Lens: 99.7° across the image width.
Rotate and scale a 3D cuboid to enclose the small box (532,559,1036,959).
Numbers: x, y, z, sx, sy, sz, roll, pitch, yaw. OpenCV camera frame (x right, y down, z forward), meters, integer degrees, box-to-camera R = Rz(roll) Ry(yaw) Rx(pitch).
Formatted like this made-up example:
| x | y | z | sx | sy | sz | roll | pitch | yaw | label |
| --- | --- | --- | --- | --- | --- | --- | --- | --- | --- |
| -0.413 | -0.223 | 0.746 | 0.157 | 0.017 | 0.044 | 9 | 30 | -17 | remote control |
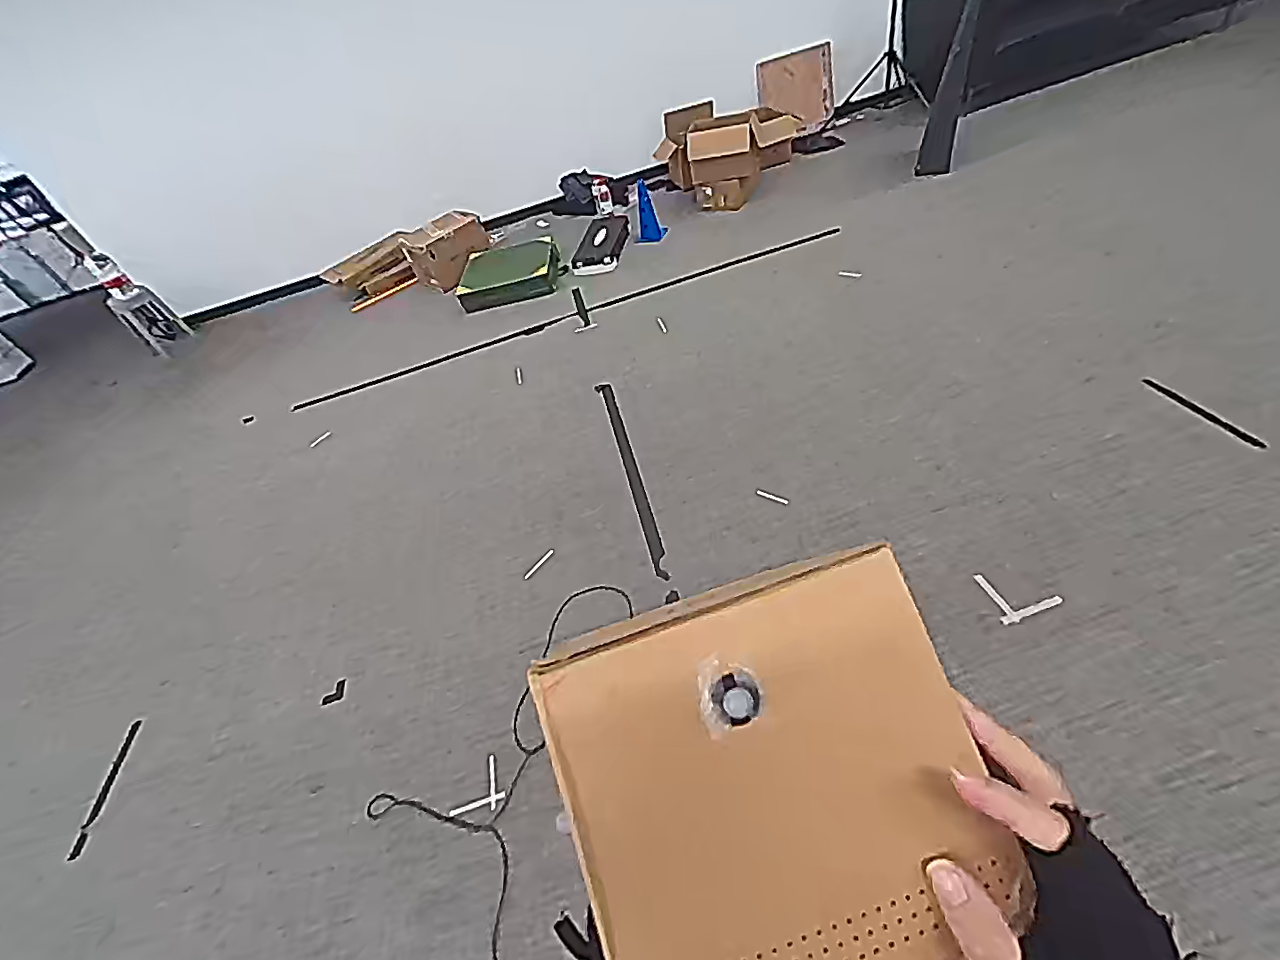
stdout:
| x | y | z | sx | sy | sz | roll | pitch | yaw | label |
| --- | --- | --- | --- | --- | --- | --- | --- | --- | --- |
| 0.061 | 0.157 | 0.303 | 0.179 | 0.168 | 0.176 | -18 | 78 | -4 | small box |
